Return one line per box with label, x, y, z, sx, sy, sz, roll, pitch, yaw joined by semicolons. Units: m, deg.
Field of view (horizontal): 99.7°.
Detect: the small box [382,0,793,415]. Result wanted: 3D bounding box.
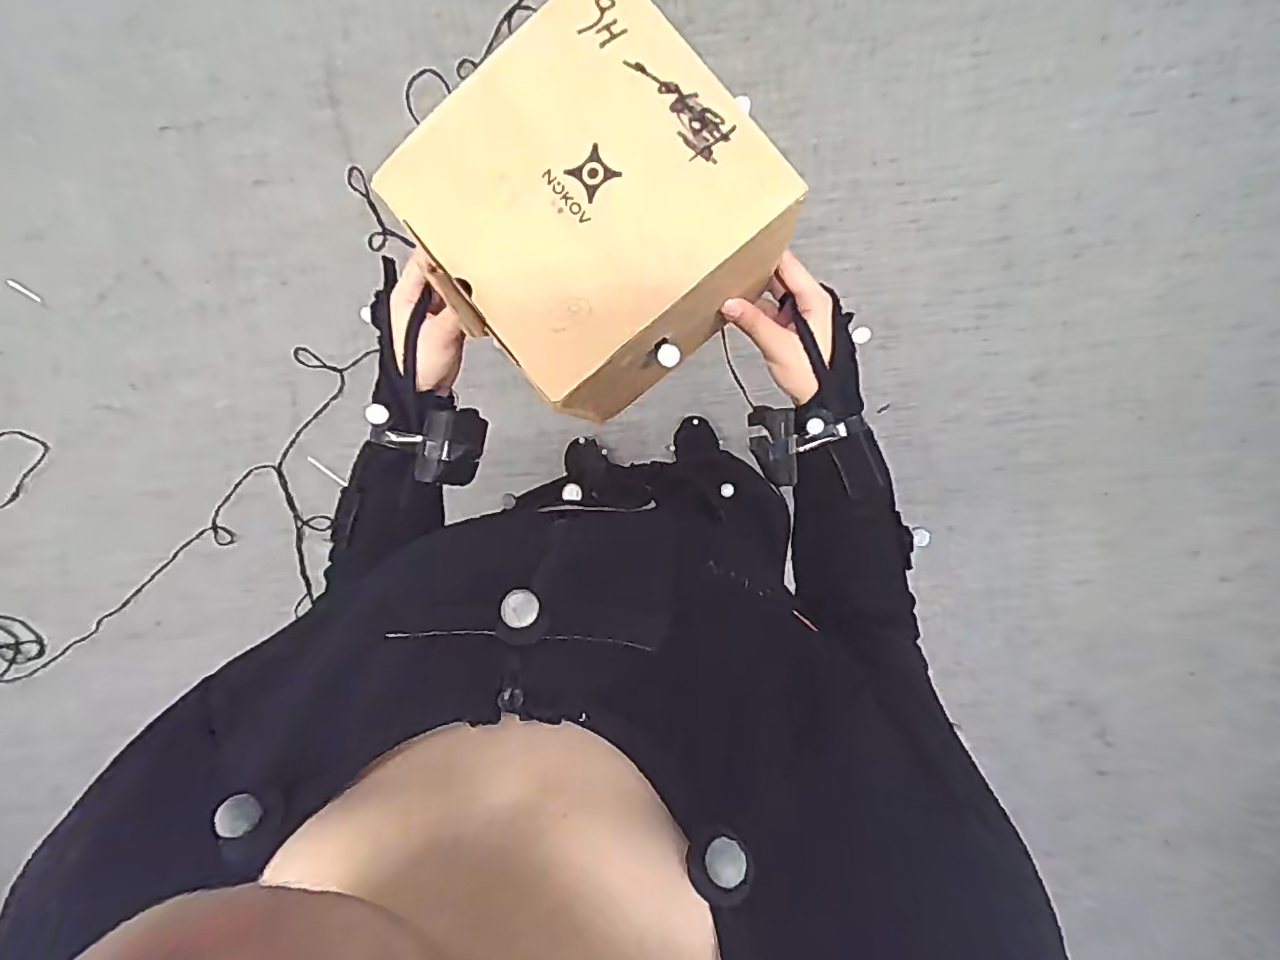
small box;-0.023;-0.160;0.373;0.179;0.176;0.168;-39;88;7
